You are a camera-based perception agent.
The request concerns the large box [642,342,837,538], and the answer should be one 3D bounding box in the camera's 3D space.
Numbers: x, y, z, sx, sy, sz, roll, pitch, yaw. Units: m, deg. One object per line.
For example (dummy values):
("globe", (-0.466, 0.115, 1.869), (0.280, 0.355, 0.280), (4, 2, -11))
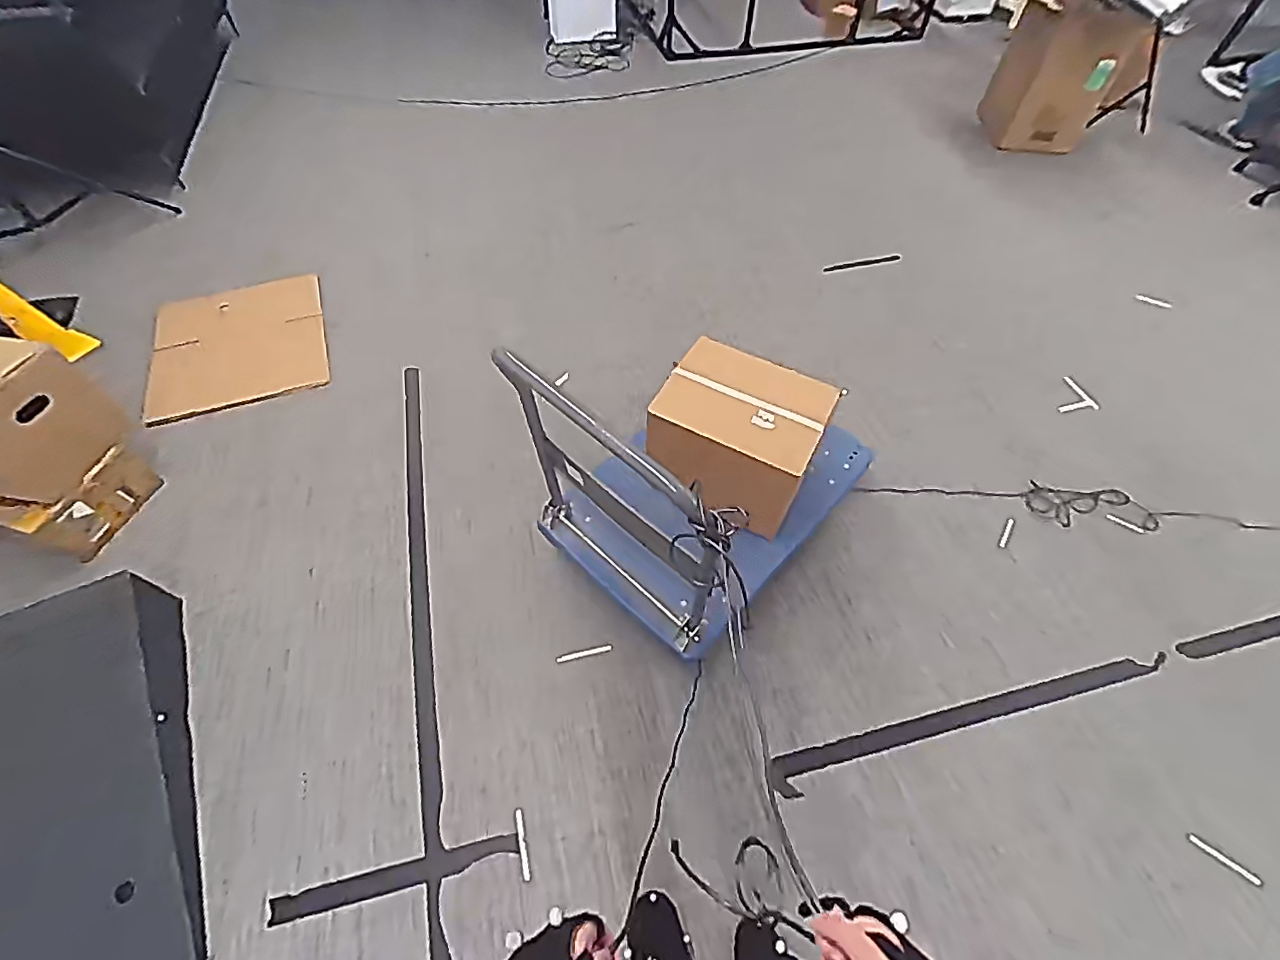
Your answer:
("large box", (0.252, -0.108, 1.469), (0.408, 0.320, 0.320), (25, 60, 15))
